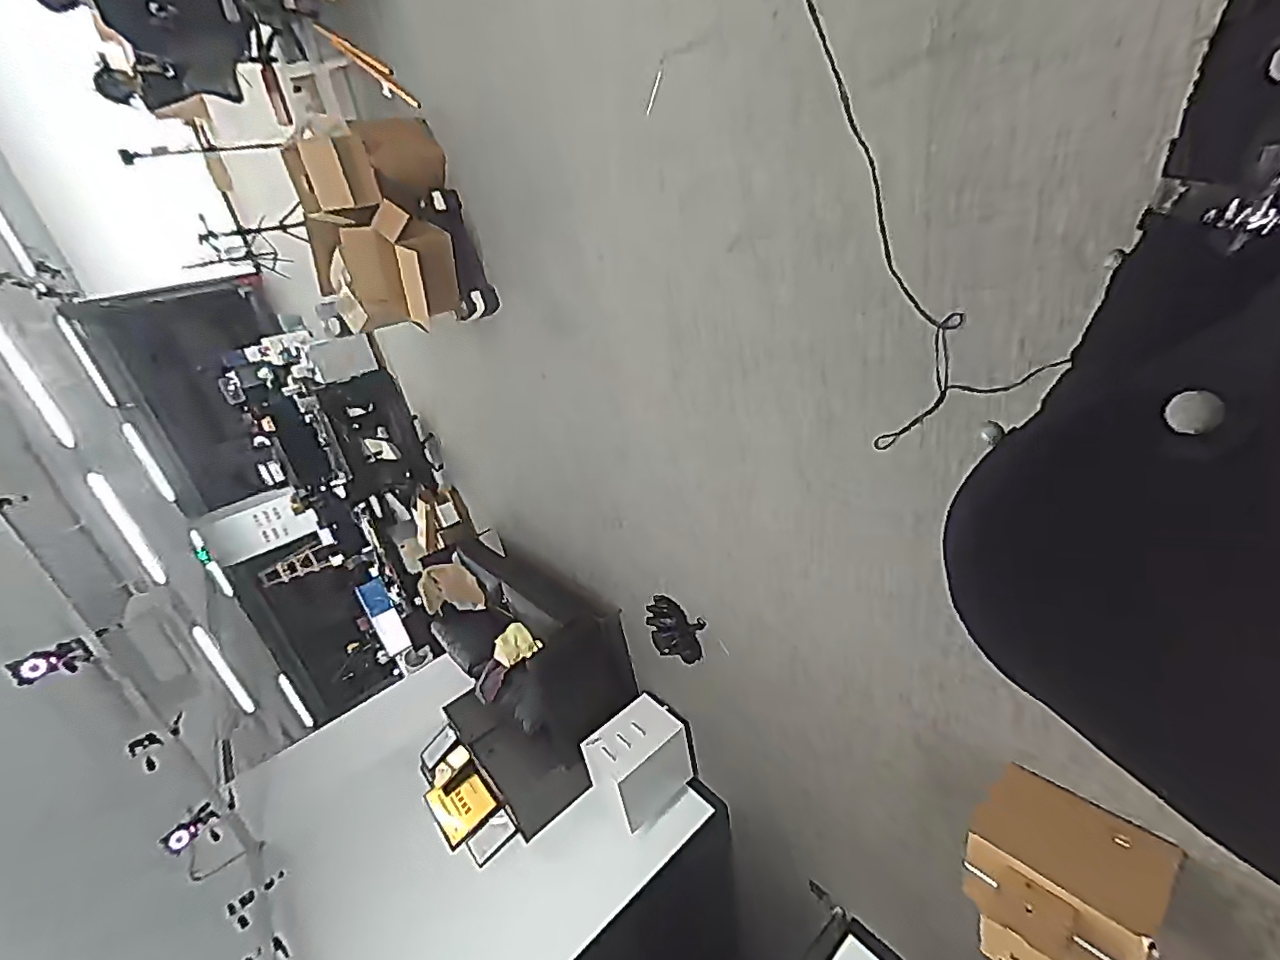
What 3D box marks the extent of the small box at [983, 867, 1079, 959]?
[{"bbox_3d":[1.041,1.193,1.441,0.168,0.176,0.179,15,125,51],"label":"small box"}]
